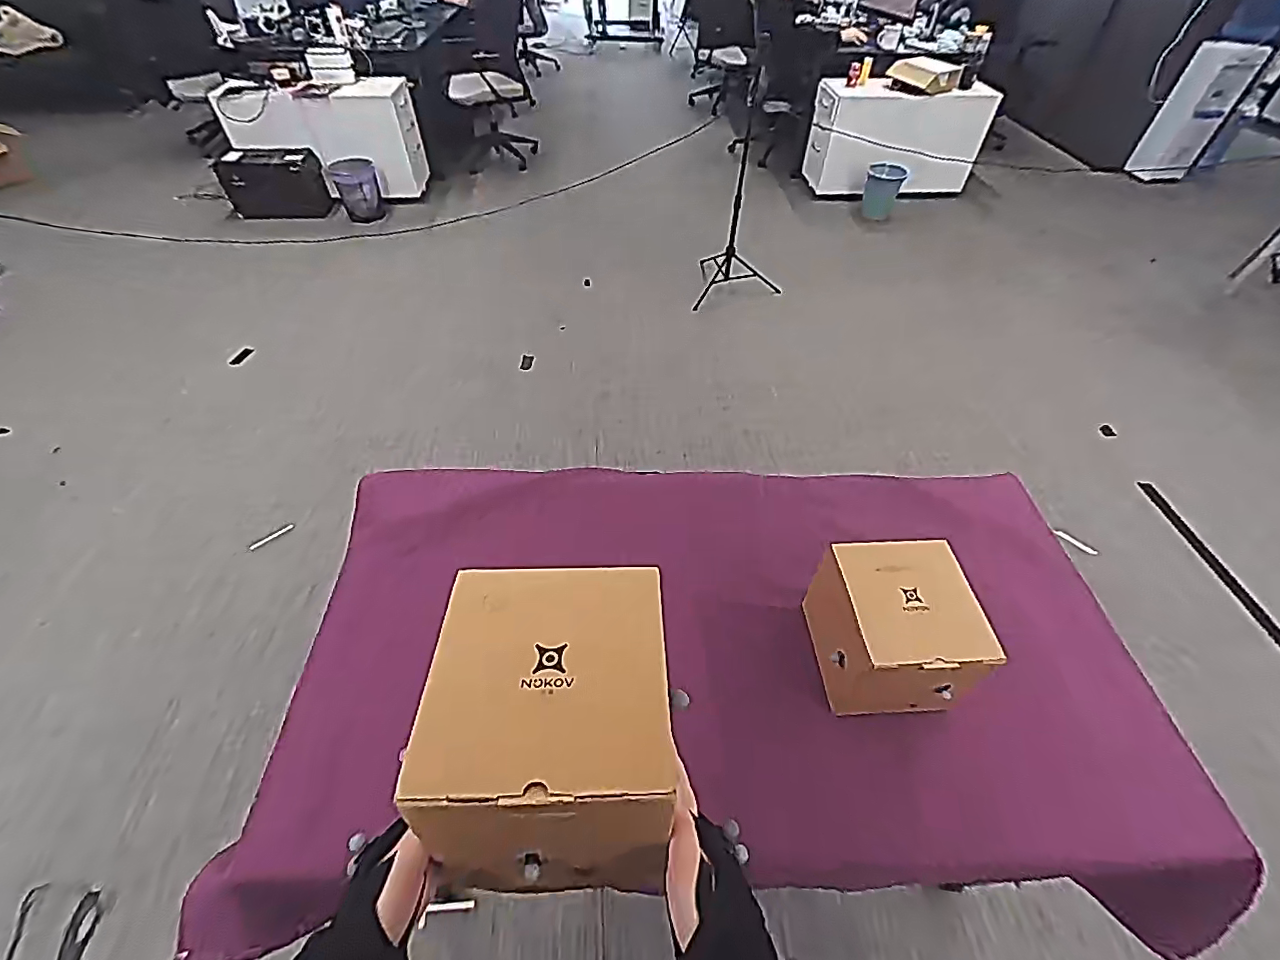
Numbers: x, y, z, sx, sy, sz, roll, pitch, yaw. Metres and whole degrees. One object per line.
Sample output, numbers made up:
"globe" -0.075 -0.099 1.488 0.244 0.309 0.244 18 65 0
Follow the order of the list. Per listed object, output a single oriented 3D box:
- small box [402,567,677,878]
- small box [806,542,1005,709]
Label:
"small box" -0.063 0.190 0.432 0.168 0.176 0.179 0 41 -2
"small box" 0.344 0.205 0.744 0.168 0.176 0.179 -1 49 -2
